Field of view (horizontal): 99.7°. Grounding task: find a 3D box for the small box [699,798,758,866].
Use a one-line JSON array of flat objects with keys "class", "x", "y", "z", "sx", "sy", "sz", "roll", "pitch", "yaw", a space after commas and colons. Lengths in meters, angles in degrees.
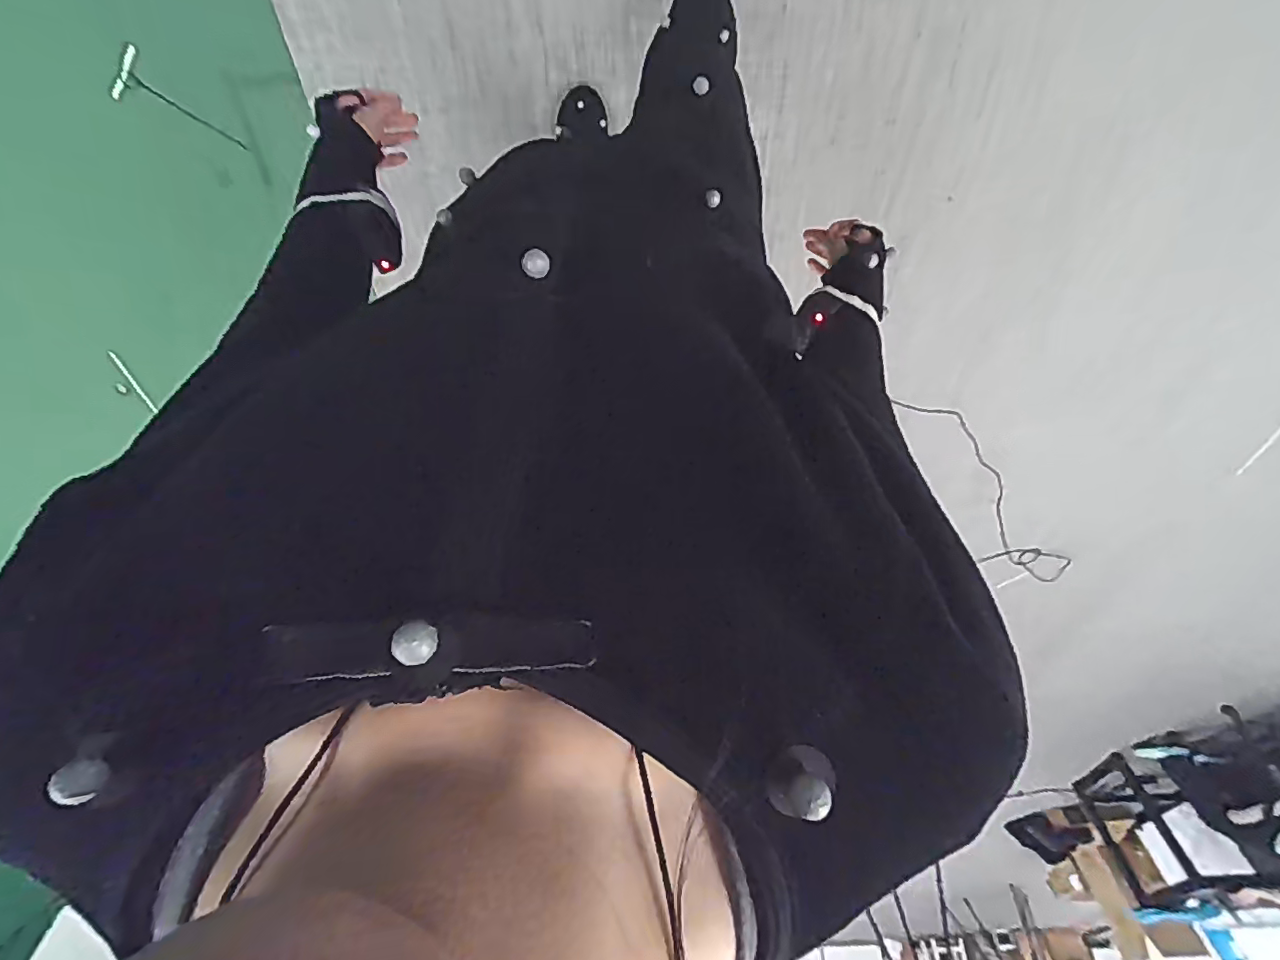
[{"class": "small box", "x": 0.302, "y": 1.226, "z": 1.888, "sx": 0.168, "sy": 0.176, "sz": 0.179, "roll": 0, "pitch": 133, "yaw": -2}]
